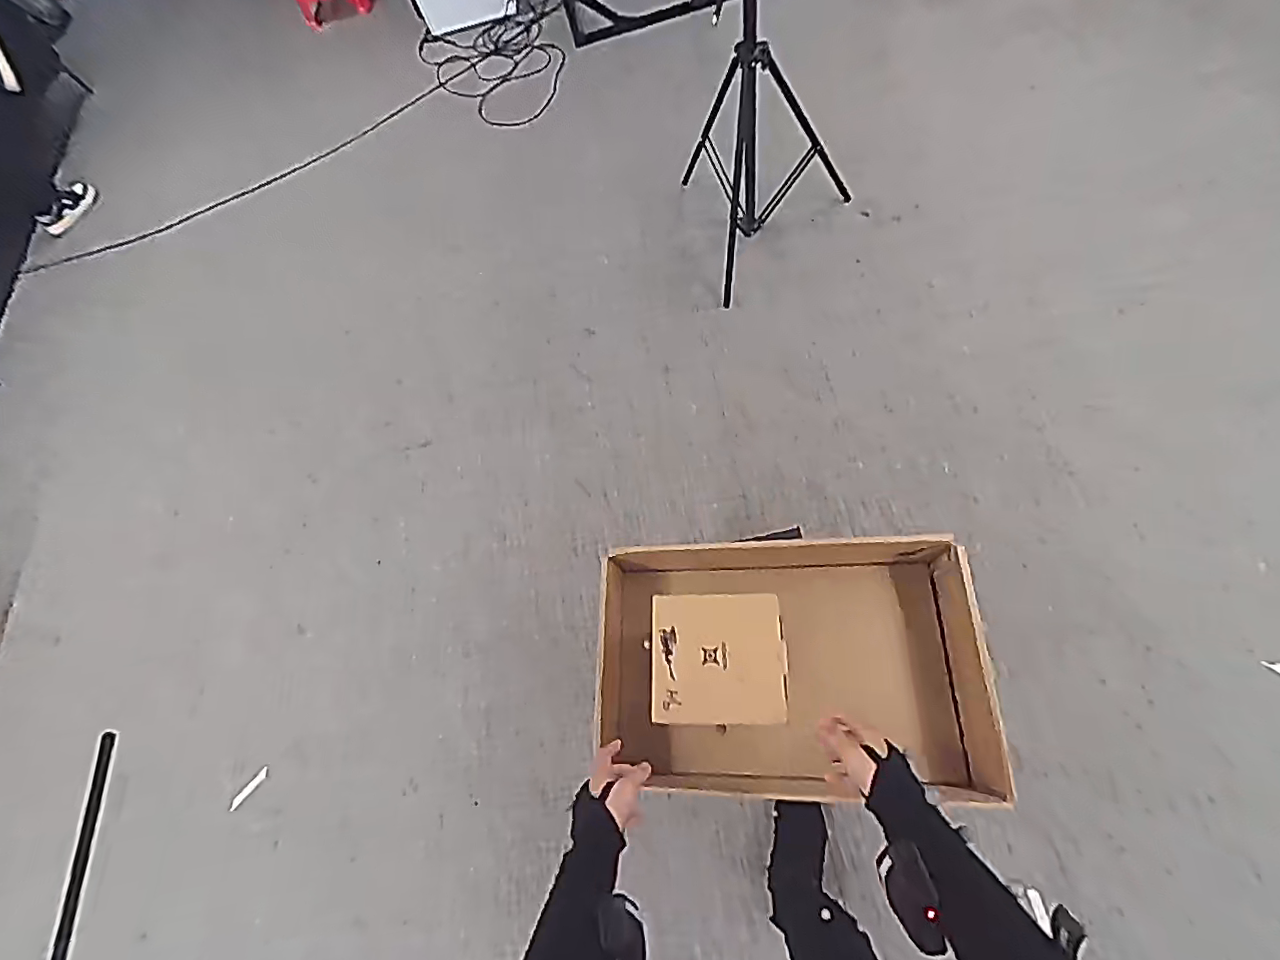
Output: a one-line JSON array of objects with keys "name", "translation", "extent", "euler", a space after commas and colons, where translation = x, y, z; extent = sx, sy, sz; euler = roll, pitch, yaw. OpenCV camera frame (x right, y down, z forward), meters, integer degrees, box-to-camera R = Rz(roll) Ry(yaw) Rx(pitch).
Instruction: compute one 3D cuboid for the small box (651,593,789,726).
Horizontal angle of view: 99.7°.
[{"name": "small box", "translation": [0.114, 0.262, 0.788], "extent": [0.179, 0.176, 0.168], "euler": [-2, 67, 9]}]
